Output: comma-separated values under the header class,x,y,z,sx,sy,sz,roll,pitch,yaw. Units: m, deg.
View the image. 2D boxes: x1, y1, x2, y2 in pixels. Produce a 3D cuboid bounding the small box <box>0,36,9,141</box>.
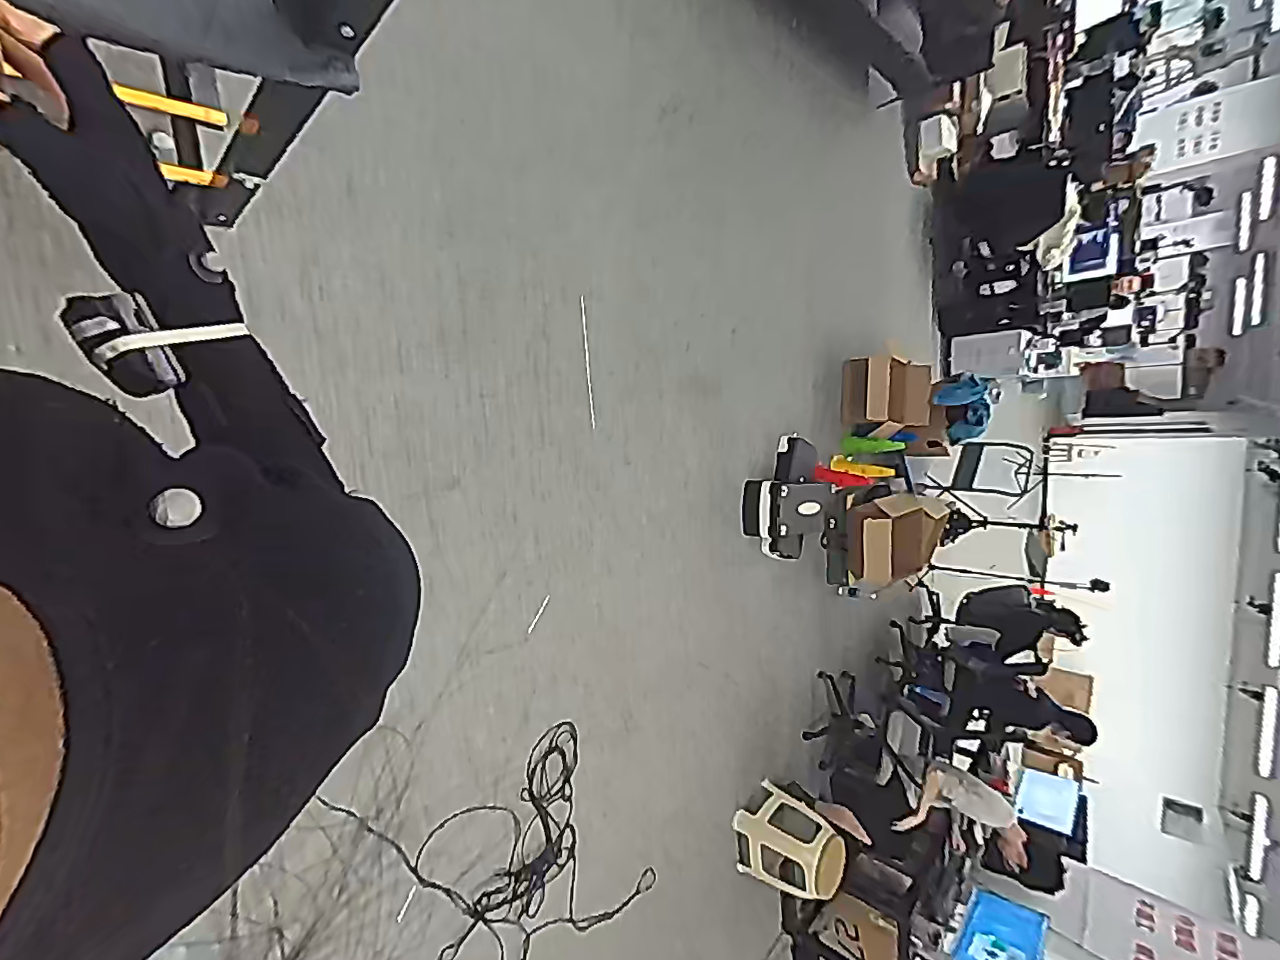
class,x,y,z,sx,sy,sz,roll,pitch,yaw
small box,-0.482,-0.308,0.276,0.168,0.176,0.179,-26,108,-43
